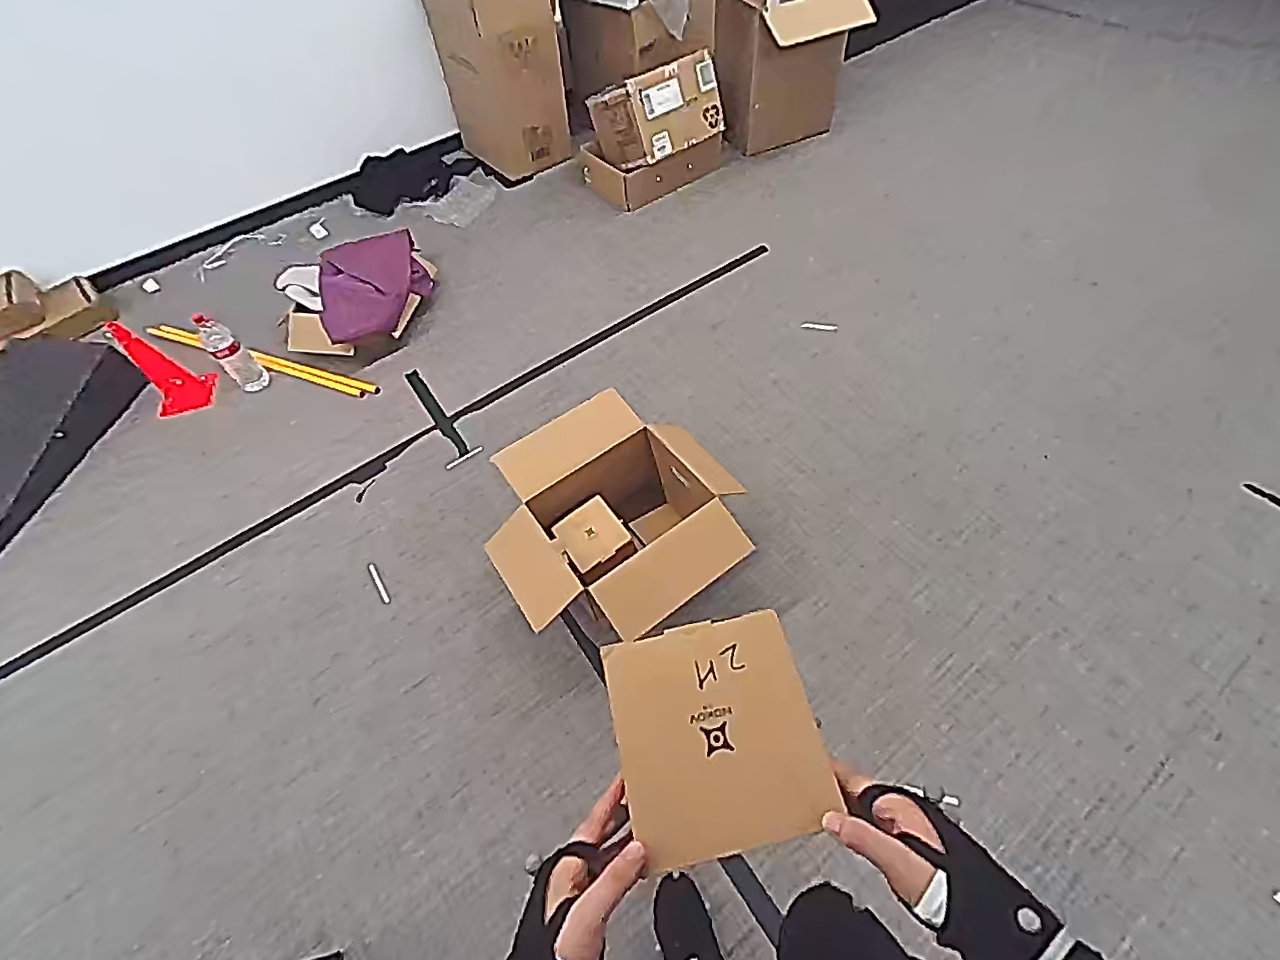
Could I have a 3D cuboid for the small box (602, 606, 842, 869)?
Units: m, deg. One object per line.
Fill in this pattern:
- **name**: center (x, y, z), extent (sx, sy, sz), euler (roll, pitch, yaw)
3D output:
- **small box**: center (0.065, 0.244, 0.517), extent (0.168, 0.176, 0.179), euler (-11, 57, -4)
